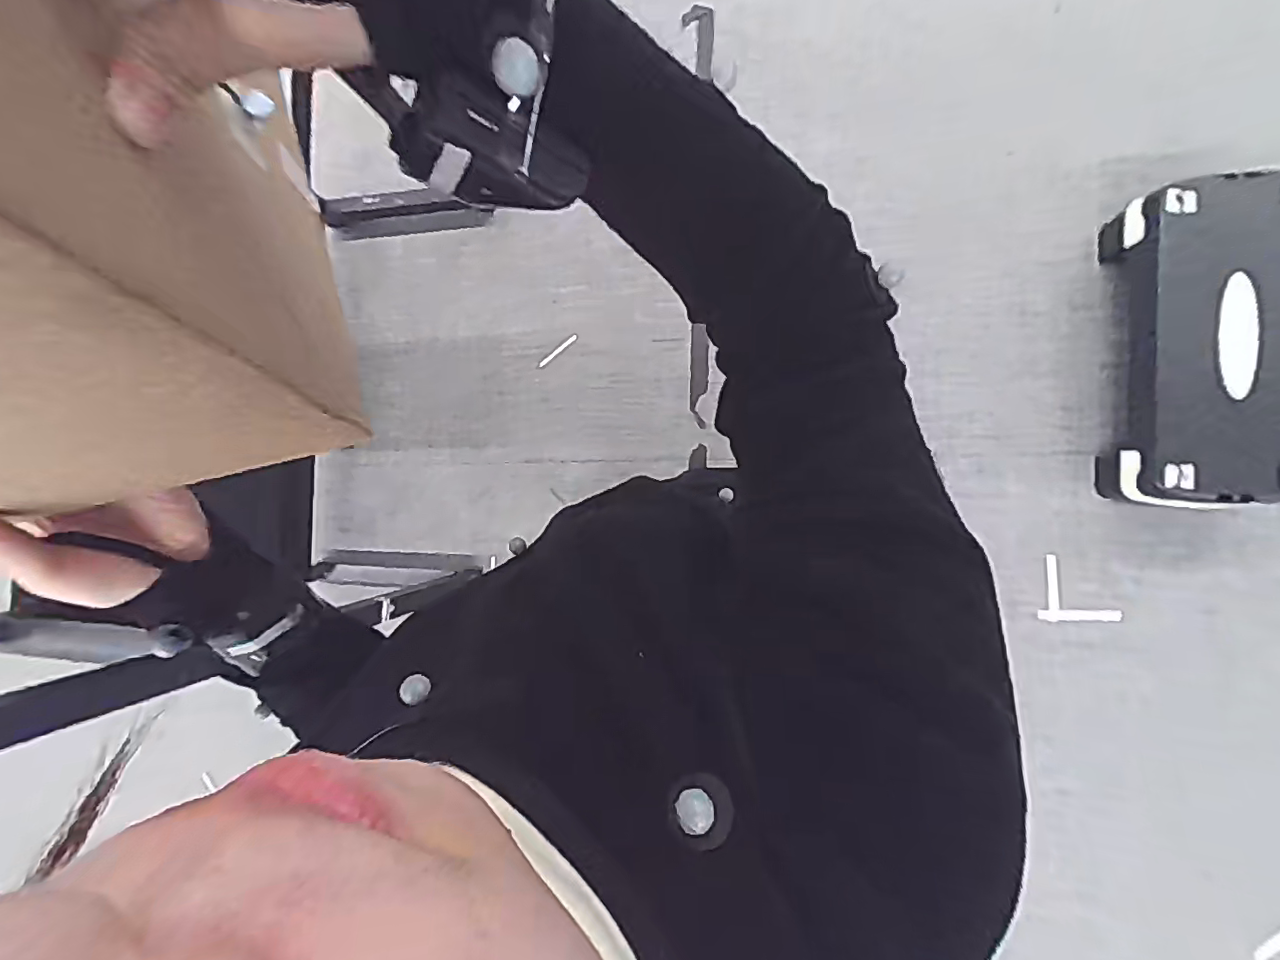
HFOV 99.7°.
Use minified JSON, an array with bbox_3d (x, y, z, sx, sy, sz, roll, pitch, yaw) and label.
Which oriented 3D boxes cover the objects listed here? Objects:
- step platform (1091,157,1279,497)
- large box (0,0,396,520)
[{"bbox_3d":[1.207,-0.307,1.147,0.286,0.204,0.684,6,89,13],"label":"step platform"},{"bbox_3d":[-0.350,-0.141,0.149,0.408,0.320,0.320,-15,84,-8],"label":"large box"}]
